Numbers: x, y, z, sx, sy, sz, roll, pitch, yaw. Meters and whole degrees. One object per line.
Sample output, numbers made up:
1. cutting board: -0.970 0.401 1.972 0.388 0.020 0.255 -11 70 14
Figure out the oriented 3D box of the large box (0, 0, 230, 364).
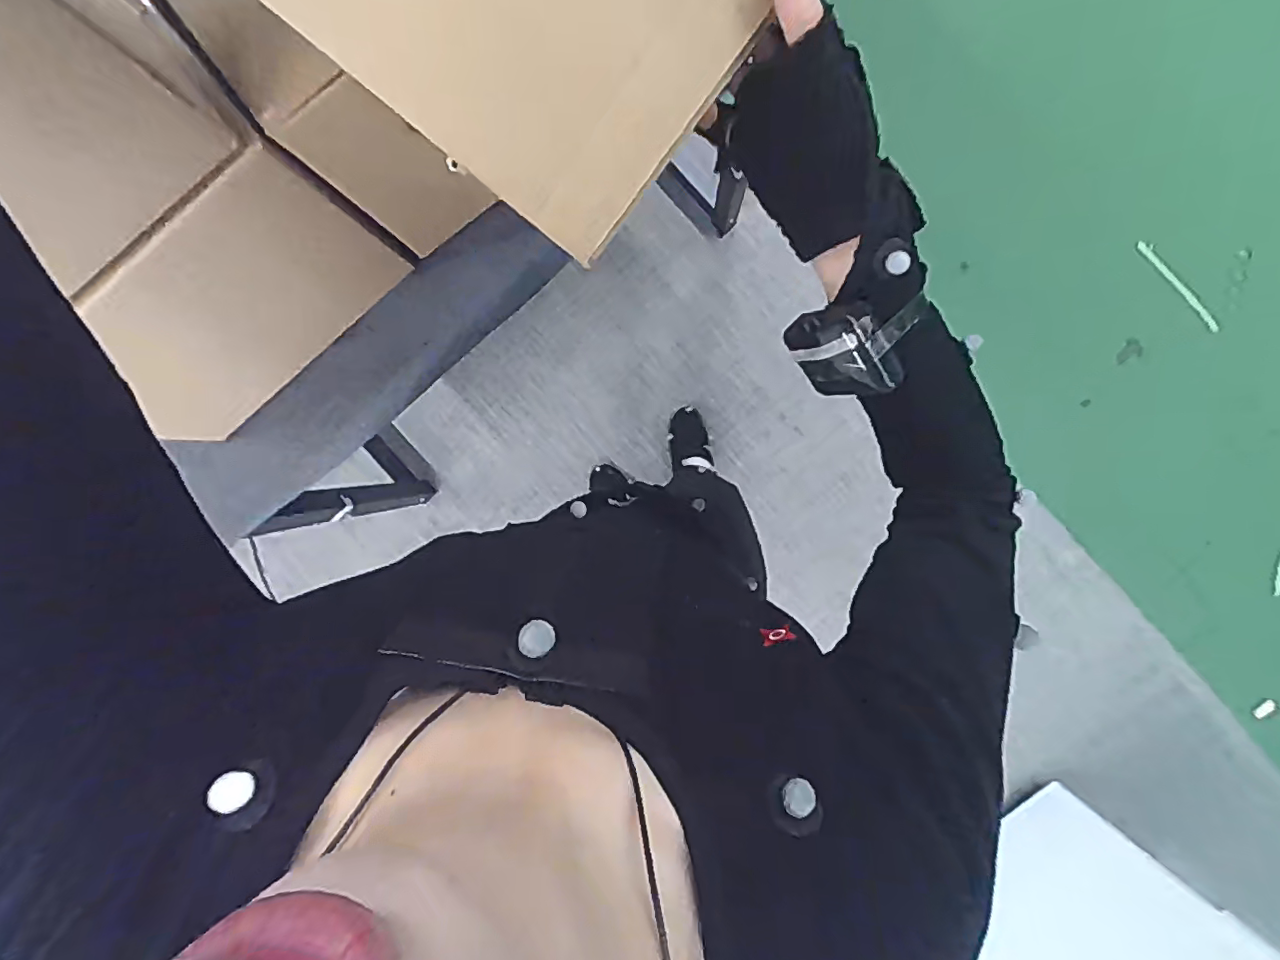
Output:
1. large box: -0.603 -0.288 0.339 0.408 0.320 0.320 -40 89 4
